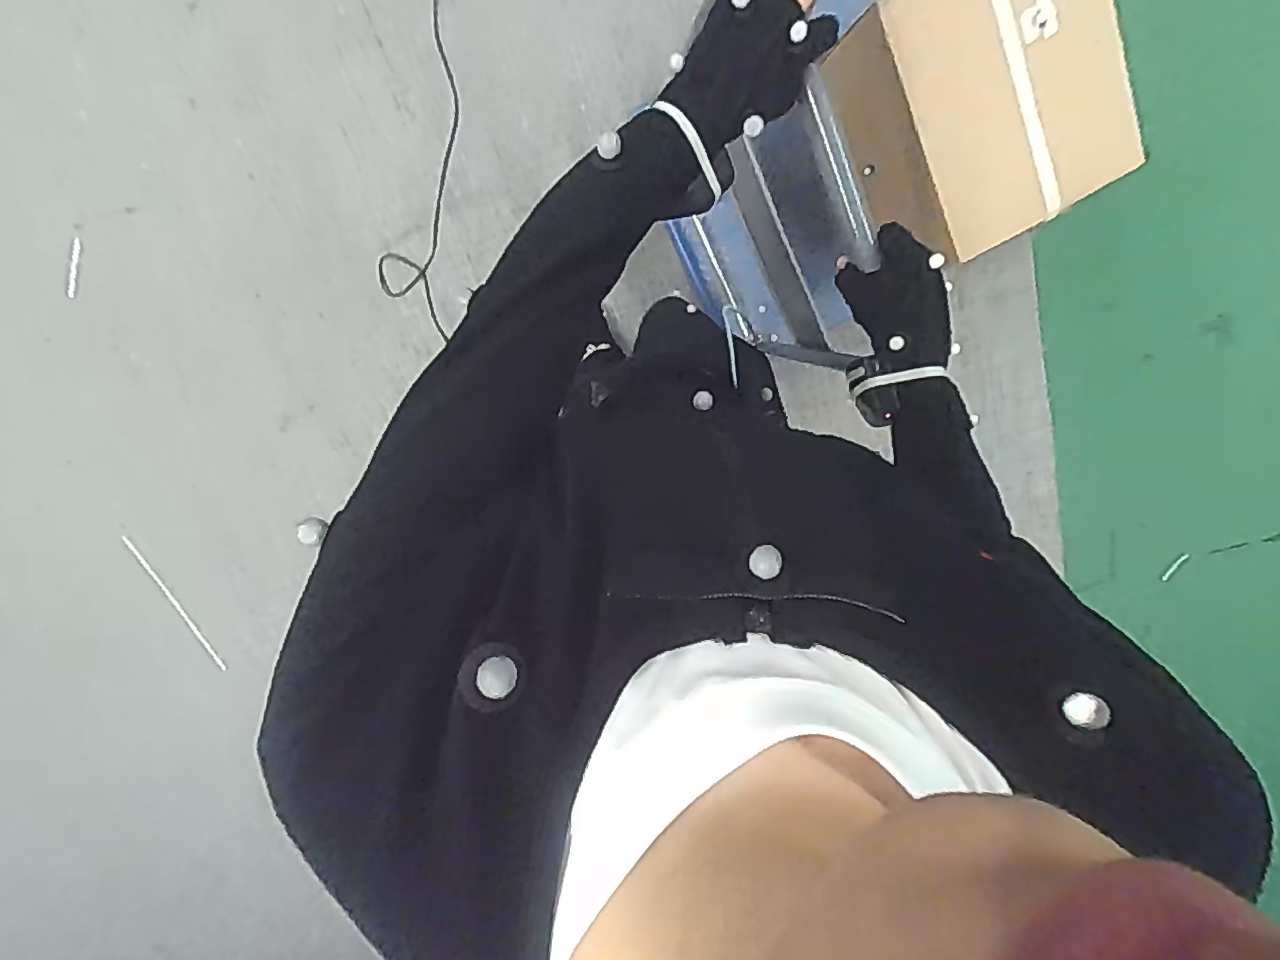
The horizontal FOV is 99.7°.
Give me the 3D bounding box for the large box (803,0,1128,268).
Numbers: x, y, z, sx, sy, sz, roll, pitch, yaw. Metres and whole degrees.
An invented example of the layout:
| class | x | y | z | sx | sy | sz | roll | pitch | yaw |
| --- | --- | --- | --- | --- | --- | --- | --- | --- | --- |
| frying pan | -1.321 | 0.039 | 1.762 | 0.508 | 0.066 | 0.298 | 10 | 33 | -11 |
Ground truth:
| class | x | y | z | sx | sy | sz | roll | pitch | yaw |
| --- | --- | --- | --- | --- | --- | --- | --- | --- | --- |
| large box | 0.551 | -0.649 | 0.972 | 0.320 | 0.320 | 0.408 | -29 | 107 | 6 |
